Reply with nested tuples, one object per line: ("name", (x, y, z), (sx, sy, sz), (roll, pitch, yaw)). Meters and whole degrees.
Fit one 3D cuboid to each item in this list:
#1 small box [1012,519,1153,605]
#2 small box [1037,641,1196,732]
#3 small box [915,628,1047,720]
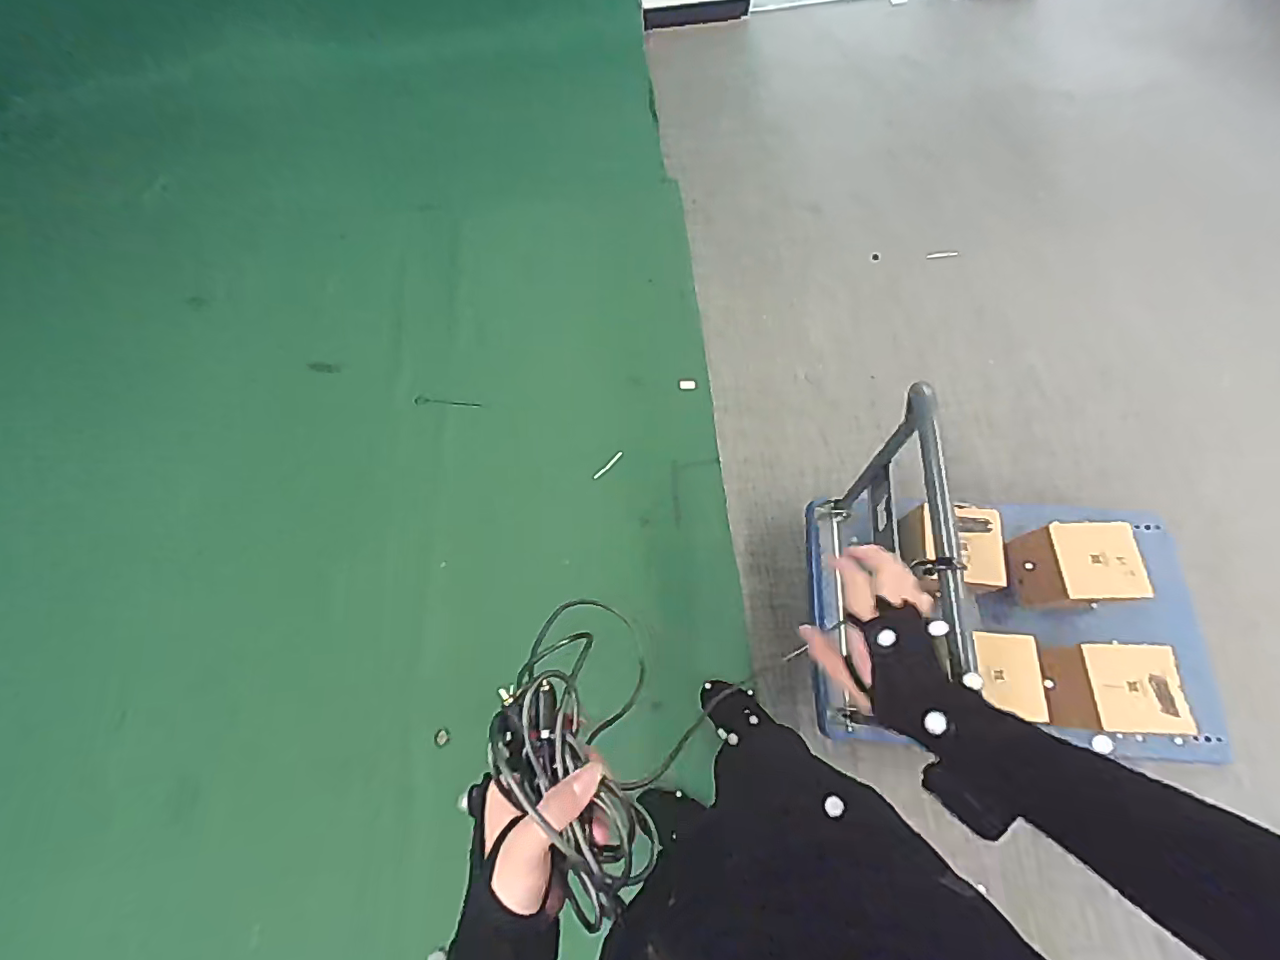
("small box", (0.986, 0.192, 1.231), (0.179, 0.176, 0.168), (-1, 70, 3))
("small box", (0.983, 0.432, 1.138), (0.179, 0.176, 0.168), (0, 68, 4))
("small box", (0.720, 0.415, 1.161), (0.179, 0.176, 0.168), (3, 69, 5))
